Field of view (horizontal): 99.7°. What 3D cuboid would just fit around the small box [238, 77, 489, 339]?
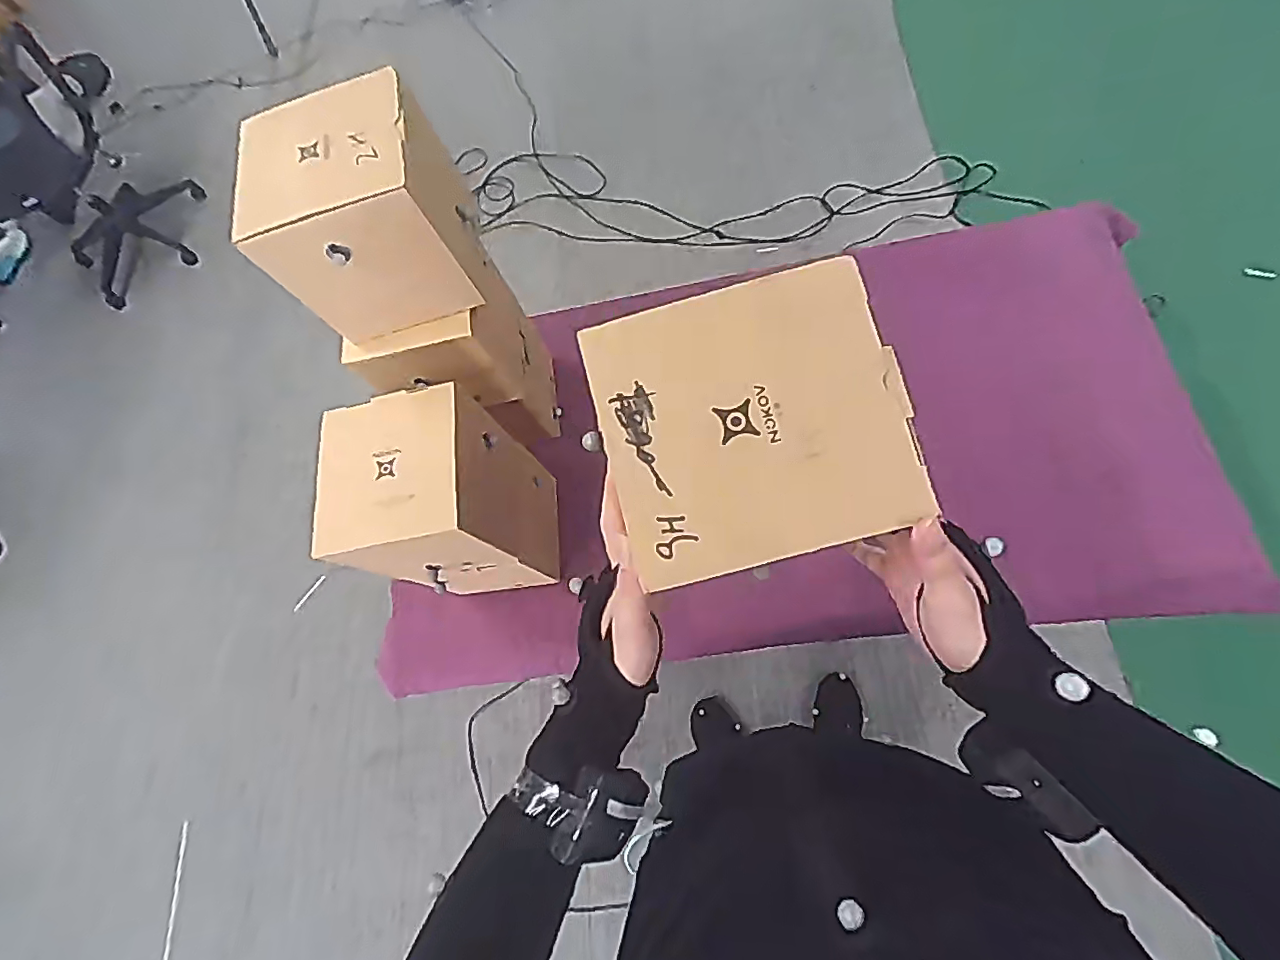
[{"bbox_3d":[-0.286,-0.280,0.591,0.179,0.176,0.168,-14,69,5],"label":"small box"}]

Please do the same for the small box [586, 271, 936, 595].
[{"bbox_3d":[0.071,-0.019,0.397,0.179,0.176,0.168,-14,80,1],"label":"small box"}]

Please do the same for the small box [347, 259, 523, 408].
[{"bbox_3d":[-0.267,-0.201,0.736,0.168,0.176,0.179,-11,69,7],"label":"small box"}]

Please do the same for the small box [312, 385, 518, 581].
[{"bbox_3d":[-0.258,0.013,0.659,0.168,0.176,0.179,-11,69,7],"label":"small box"}]
